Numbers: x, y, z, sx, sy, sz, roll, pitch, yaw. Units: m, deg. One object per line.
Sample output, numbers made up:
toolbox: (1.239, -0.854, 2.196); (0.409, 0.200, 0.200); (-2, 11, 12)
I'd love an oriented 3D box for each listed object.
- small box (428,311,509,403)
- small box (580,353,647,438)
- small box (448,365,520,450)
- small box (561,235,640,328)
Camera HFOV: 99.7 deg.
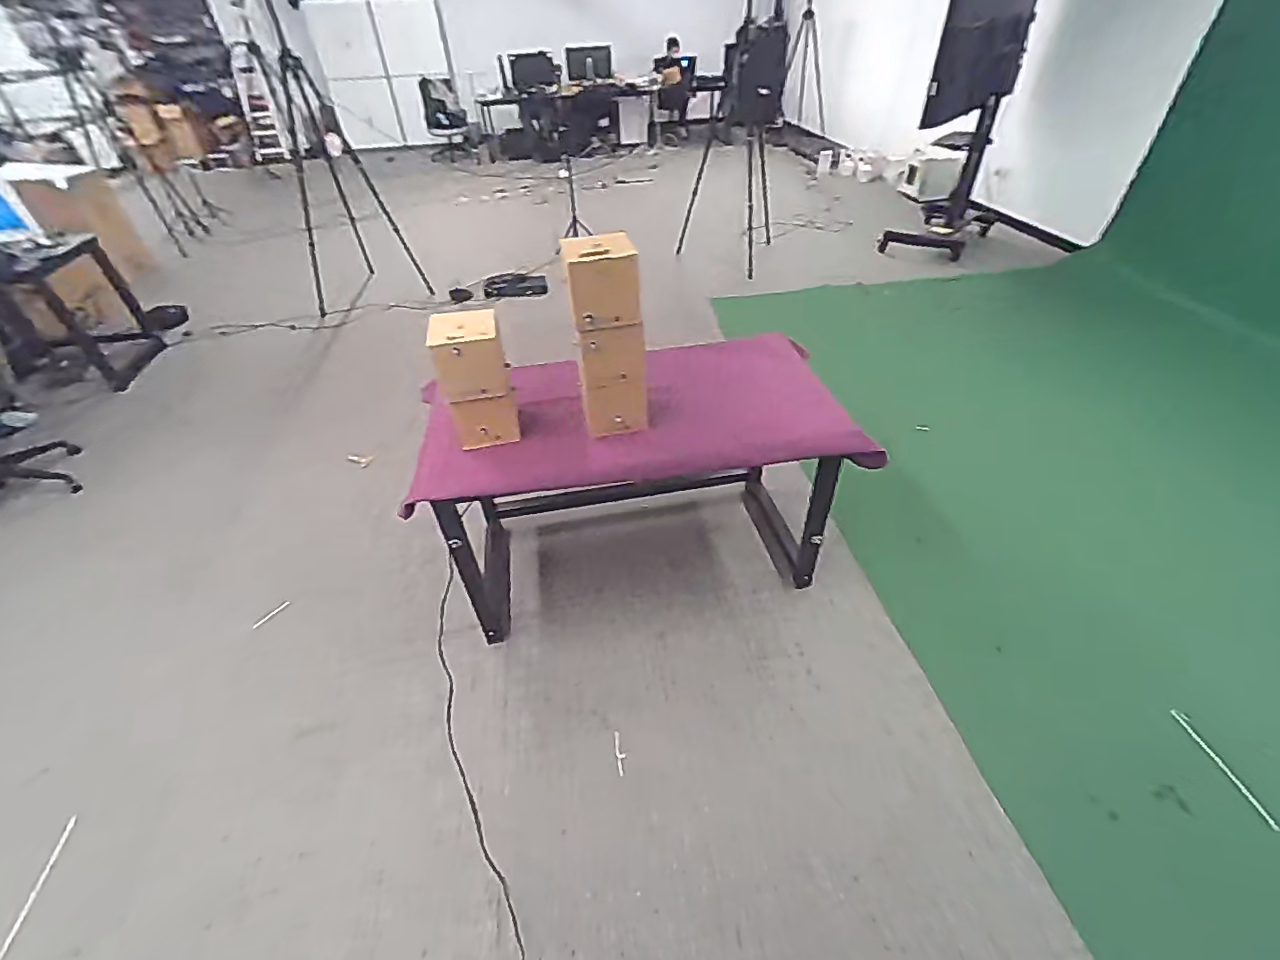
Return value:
small box: (-0.444, -0.323, 1.418); (0.168, 0.176, 0.179); (-10, 41, -8)
small box: (-0.077, -0.243, 1.551); (0.168, 0.176, 0.179); (-9, 42, -6)
small box: (-0.439, -0.208, 1.536); (0.168, 0.176, 0.179); (-11, 42, -9)
small box: (-0.096, -0.484, 1.328); (0.168, 0.176, 0.179); (-9, 40, -7)
